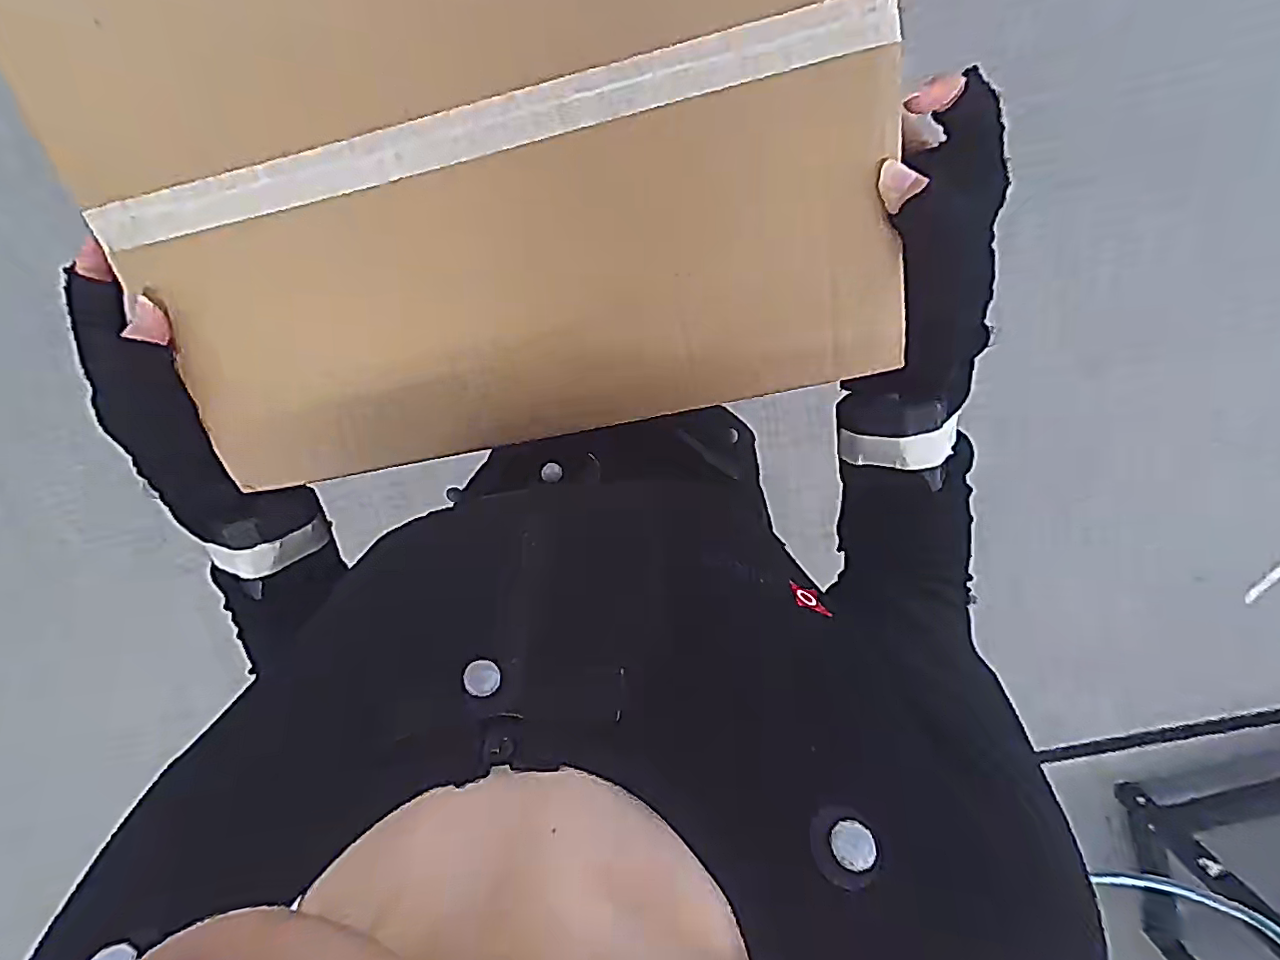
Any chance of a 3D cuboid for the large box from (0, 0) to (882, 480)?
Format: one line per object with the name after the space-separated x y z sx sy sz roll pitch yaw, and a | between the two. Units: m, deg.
-0.081 -0.233 0.406 0.408 0.320 0.320 -10 112 7 | large box
